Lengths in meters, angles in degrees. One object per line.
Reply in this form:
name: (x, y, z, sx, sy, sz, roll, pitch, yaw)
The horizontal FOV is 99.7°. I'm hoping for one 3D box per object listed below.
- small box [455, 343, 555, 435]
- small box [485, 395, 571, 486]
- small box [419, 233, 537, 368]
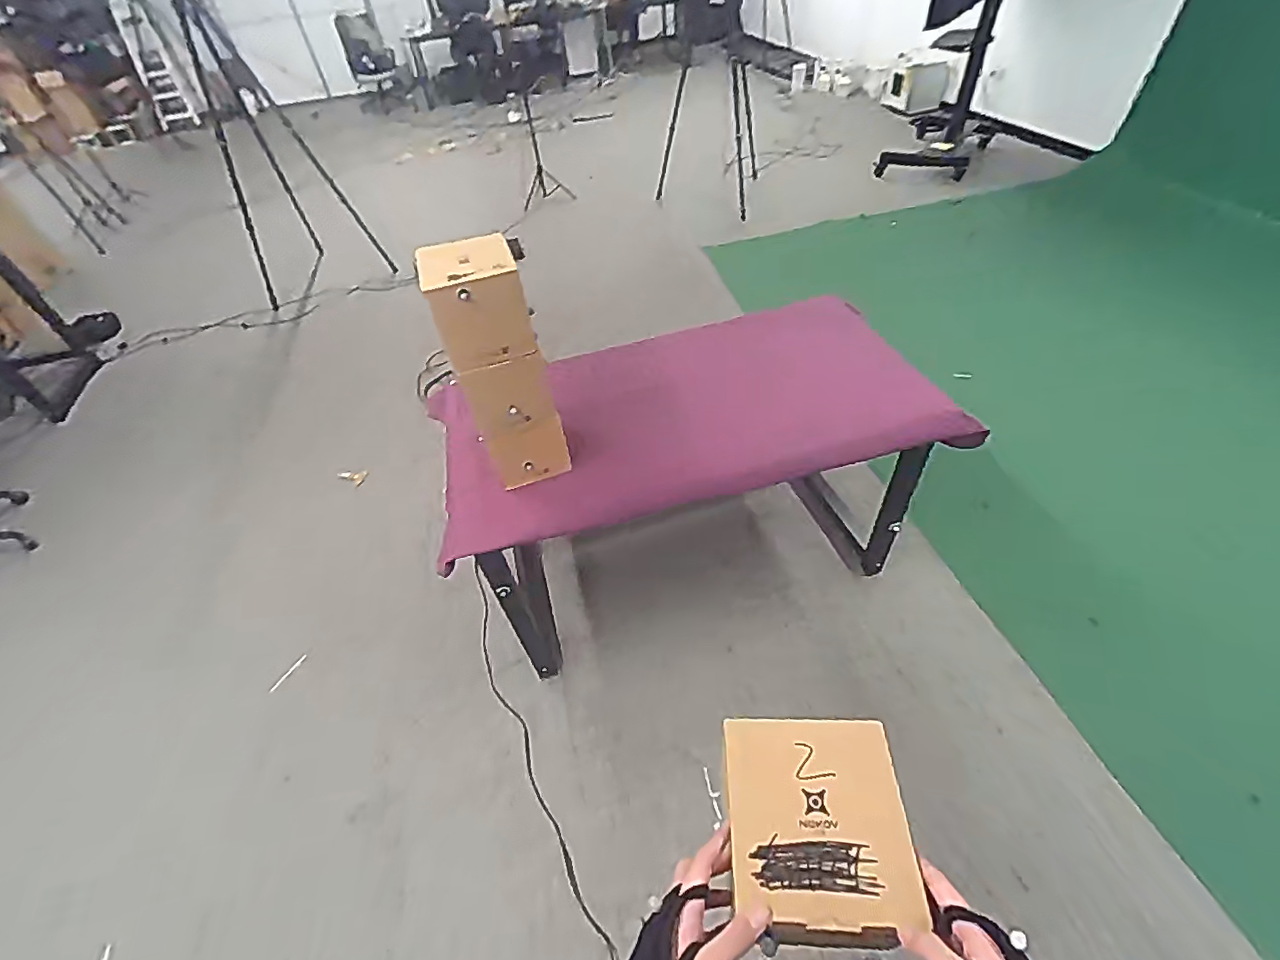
small box: (-0.290, -0.225, 1.139, 0.168, 0.176, 0.179, -19, 48, -11)
small box: (-0.269, -0.116, 1.260, 0.168, 0.176, 0.179, -18, 48, -10)
small box: (-0.303, -0.339, 1.021, 0.168, 0.176, 0.179, -17, 47, -9)
